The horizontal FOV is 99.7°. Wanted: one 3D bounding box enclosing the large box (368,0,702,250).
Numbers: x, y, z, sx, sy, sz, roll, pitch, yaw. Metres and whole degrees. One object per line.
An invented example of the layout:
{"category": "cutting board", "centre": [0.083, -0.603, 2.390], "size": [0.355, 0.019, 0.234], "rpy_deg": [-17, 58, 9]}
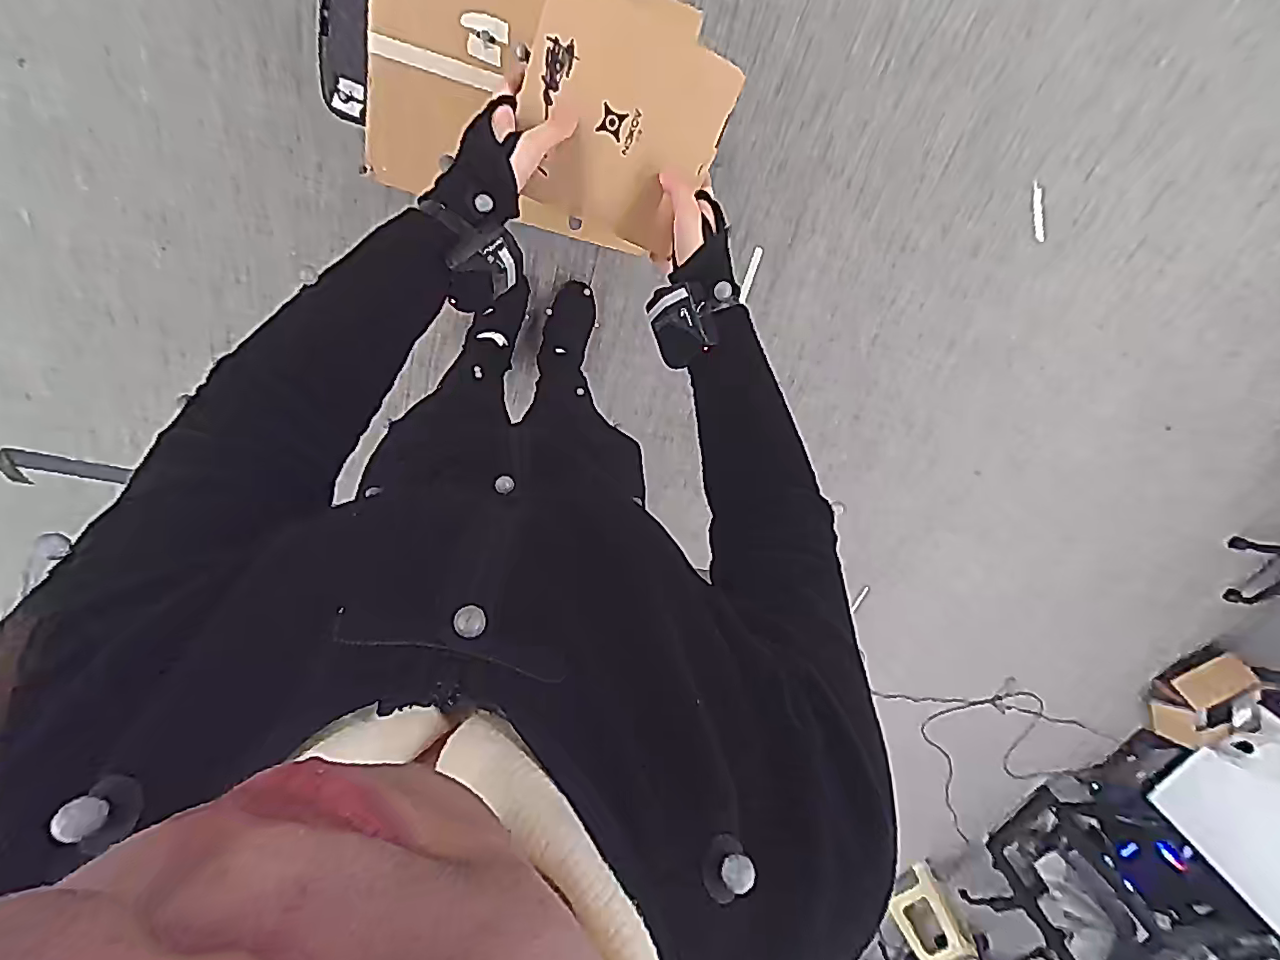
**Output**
{"category": "large box", "centre": [-0.164, -0.587, 0.845], "size": [0.408, 0.320, 0.320], "rpy_deg": [10, 117, -15]}

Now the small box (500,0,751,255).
{"category": "small box", "centre": [-0.027, -0.348, 0.532], "size": [0.179, 0.176, 0.168], "rpy_deg": [16, 115, -20]}
